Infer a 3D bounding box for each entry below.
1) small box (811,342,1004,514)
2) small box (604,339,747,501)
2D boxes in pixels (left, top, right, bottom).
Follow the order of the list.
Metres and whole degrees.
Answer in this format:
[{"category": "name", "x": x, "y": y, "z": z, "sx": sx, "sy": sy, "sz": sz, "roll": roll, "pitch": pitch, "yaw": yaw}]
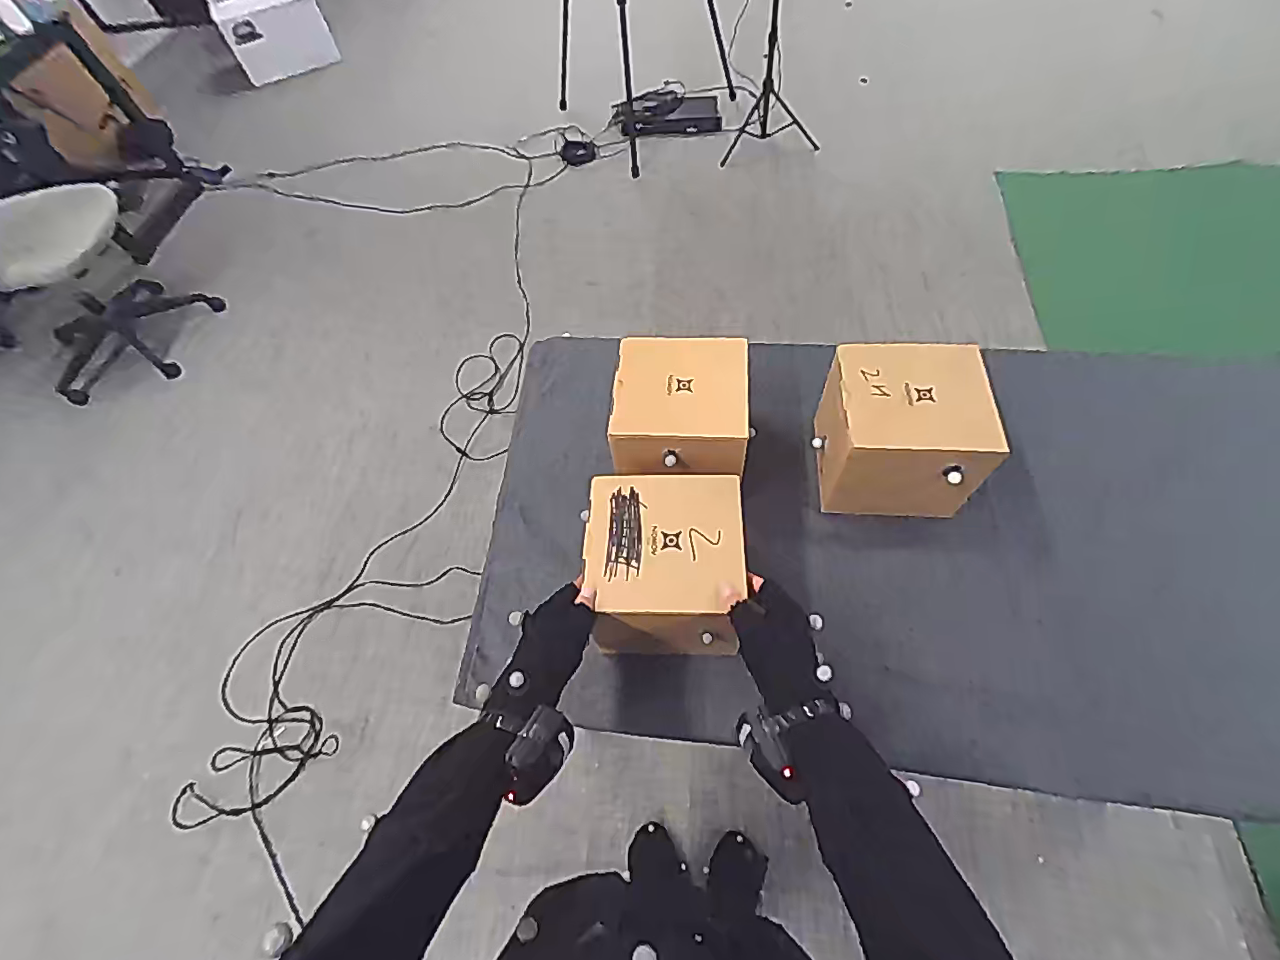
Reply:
[{"category": "small box", "x": 0.338, "y": -0.063, "z": 0.722, "sx": 0.179, "sy": 0.176, "sz": 0.168, "roll": 2, "pitch": 60, "yaw": 7}, {"category": "small box", "x": 0.055, "y": -0.080, "z": 0.767, "sx": 0.179, "sy": 0.176, "sz": 0.168, "roll": 1, "pitch": 60, "yaw": 7}]
